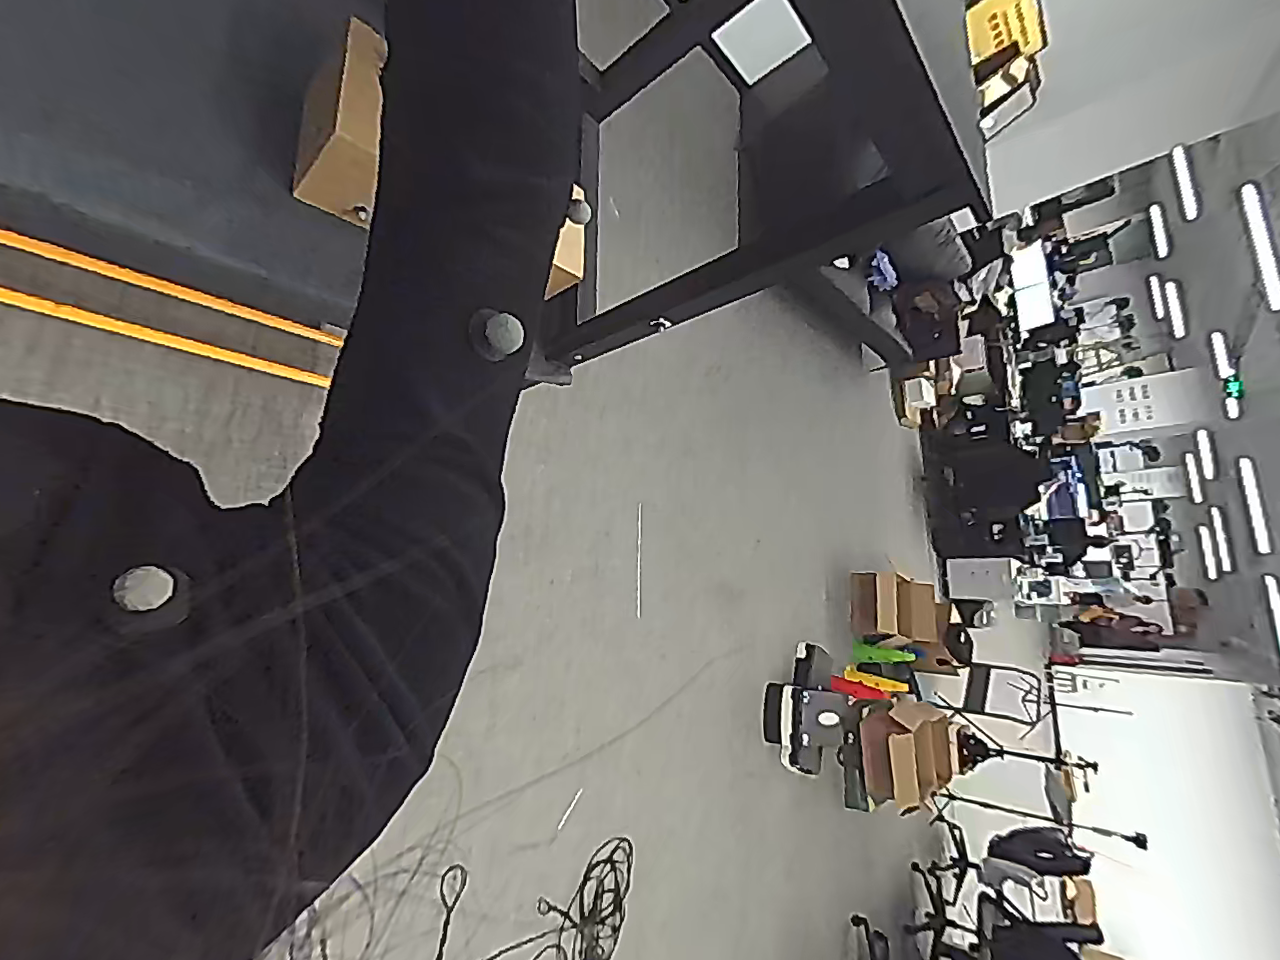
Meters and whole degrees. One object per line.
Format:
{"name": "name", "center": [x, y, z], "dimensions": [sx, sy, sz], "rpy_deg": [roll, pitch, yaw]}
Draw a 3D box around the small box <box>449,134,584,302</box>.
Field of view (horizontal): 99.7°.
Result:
{"name": "small box", "center": [-0.216, -0.437, 0.940], "dimensions": [0.168, 0.176, 0.179], "rpy_deg": [11, 74, -47]}
